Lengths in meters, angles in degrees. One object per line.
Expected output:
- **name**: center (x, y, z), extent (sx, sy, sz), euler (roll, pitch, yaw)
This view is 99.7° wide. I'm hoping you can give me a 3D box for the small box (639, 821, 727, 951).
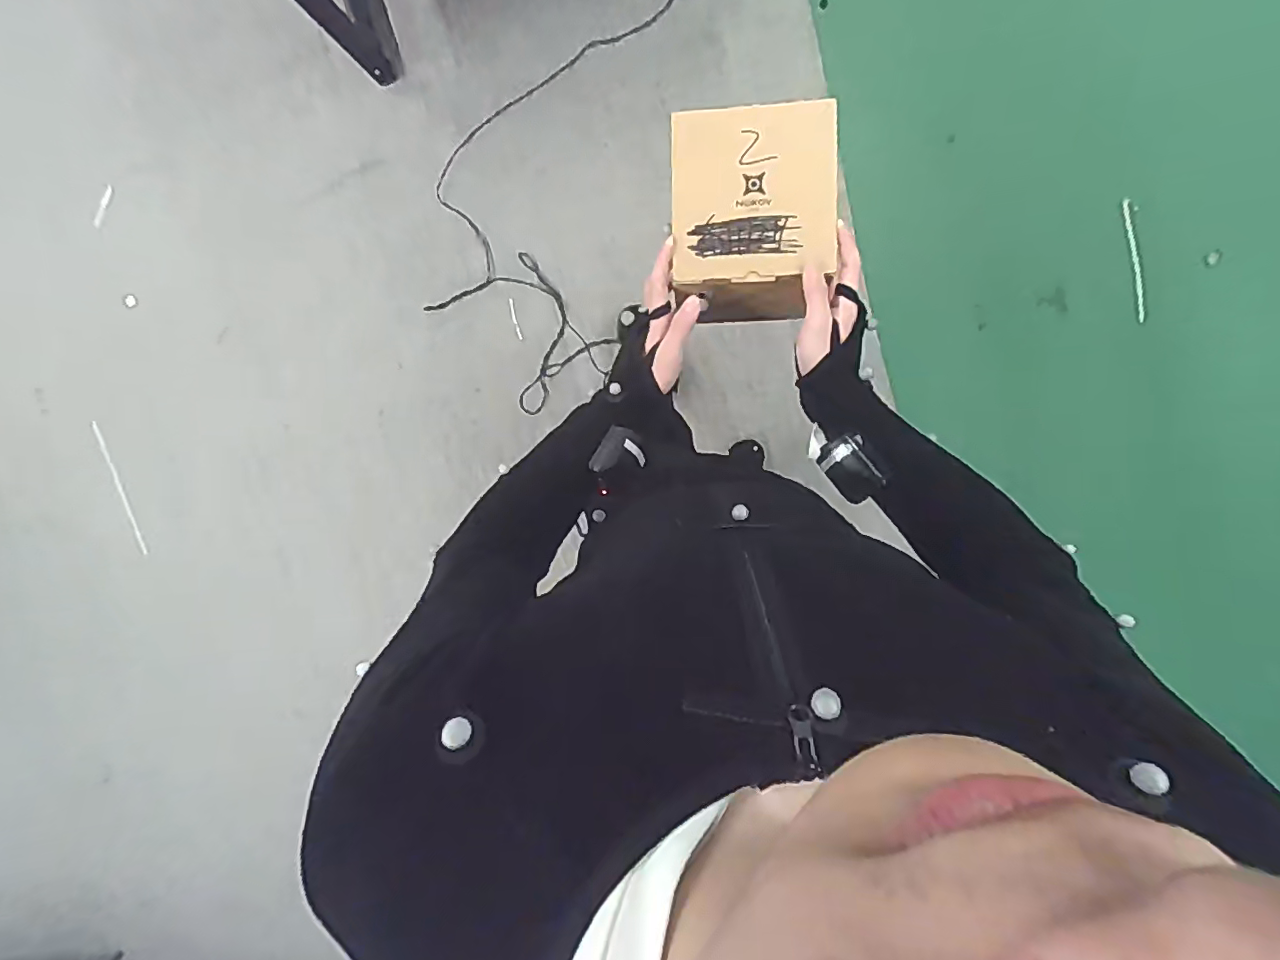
- **small box**: center (0.105, 0.930, 1.247), extent (0.168, 0.176, 0.179), euler (-12, 95, 10)
